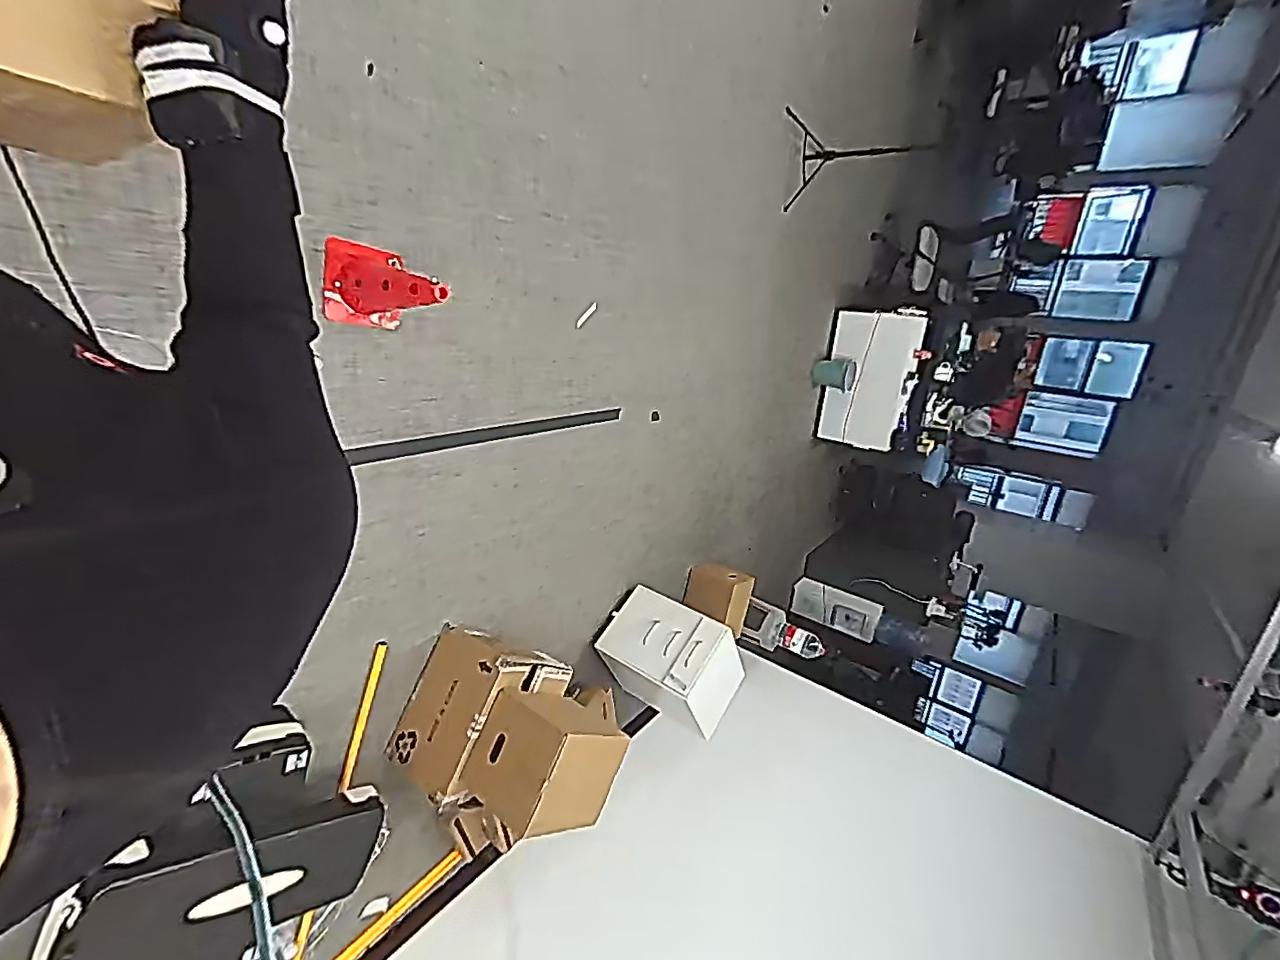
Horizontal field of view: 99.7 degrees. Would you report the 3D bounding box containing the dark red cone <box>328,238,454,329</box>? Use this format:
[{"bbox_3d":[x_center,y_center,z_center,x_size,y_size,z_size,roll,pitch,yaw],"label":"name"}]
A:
[{"bbox_3d":[-0.576,-0.460,1.306,0.201,0.394,0.202,-8,111,-52],"label":"dark red cone"}]

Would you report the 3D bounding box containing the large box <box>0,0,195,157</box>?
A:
[{"bbox_3d":[-0.554,-0.415,0.288,0.408,0.320,0.320,-14,115,-53],"label":"large box"}]
